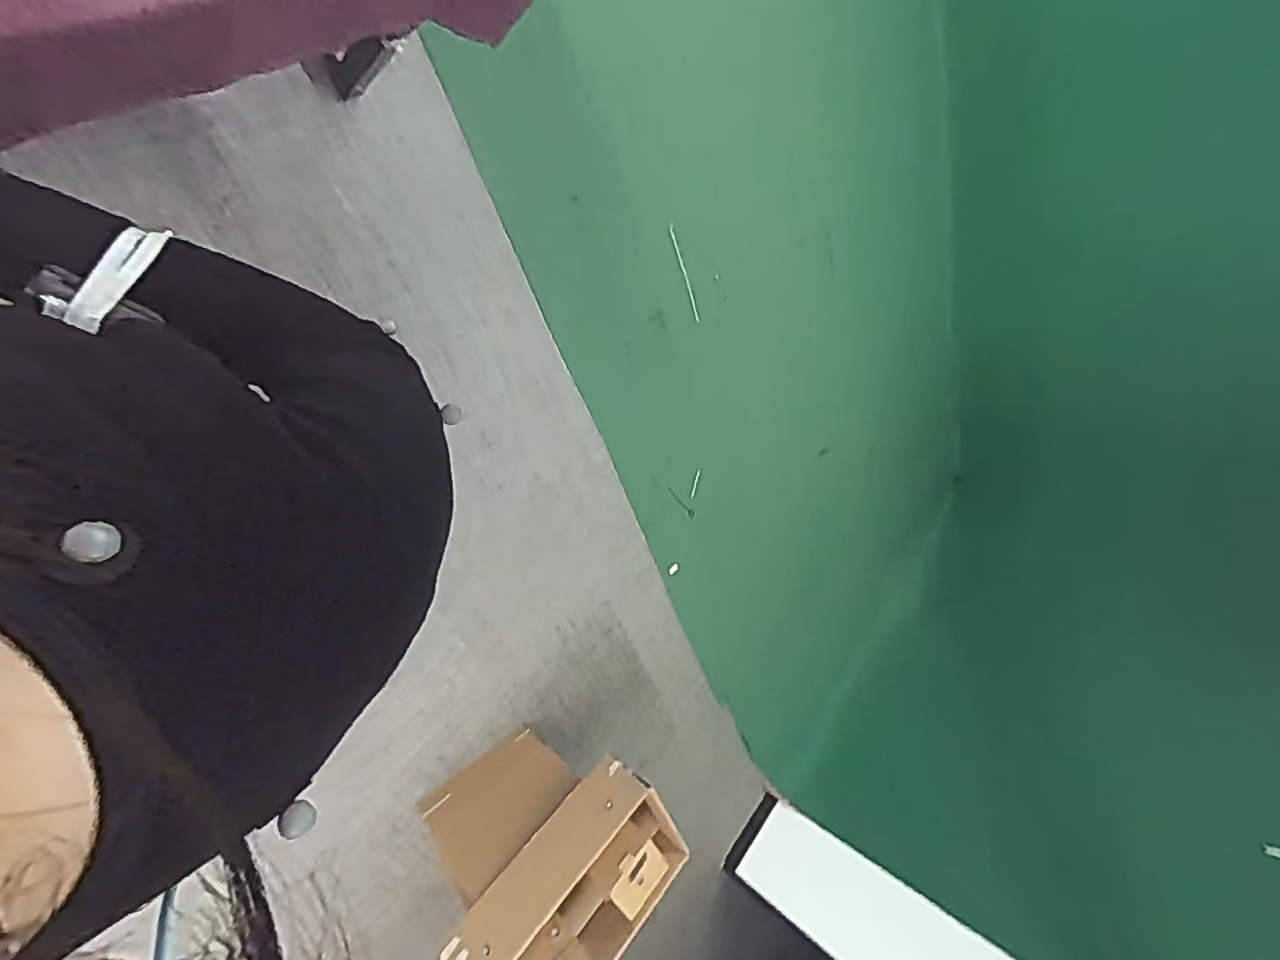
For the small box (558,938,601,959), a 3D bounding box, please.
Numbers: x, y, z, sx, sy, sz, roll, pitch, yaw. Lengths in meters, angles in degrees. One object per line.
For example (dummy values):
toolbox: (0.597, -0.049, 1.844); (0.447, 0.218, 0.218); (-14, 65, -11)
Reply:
small box: (-0.132, 1.233, 1.261); (0.168, 0.176, 0.179); (-33, 119, -31)
